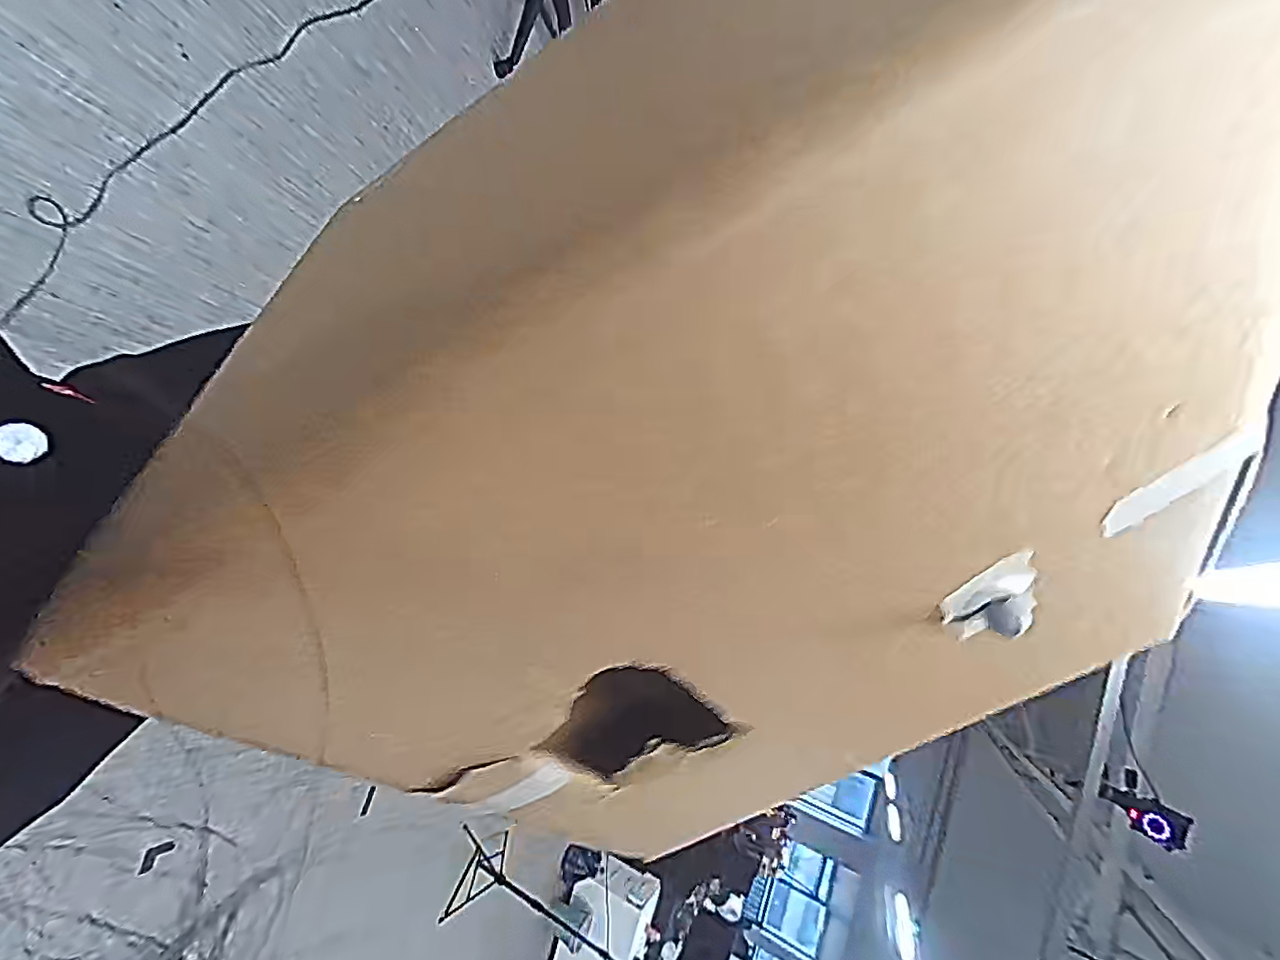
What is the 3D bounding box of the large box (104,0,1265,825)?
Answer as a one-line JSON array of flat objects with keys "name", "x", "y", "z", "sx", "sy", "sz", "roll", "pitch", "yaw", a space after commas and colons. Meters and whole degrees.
[{"name": "large box", "x": 0.017, "y": -0.073, "z": 0.354, "sx": 0.320, "sy": 0.320, "sz": 0.408, "roll": 52, "pitch": 13, "yaw": -41}]
